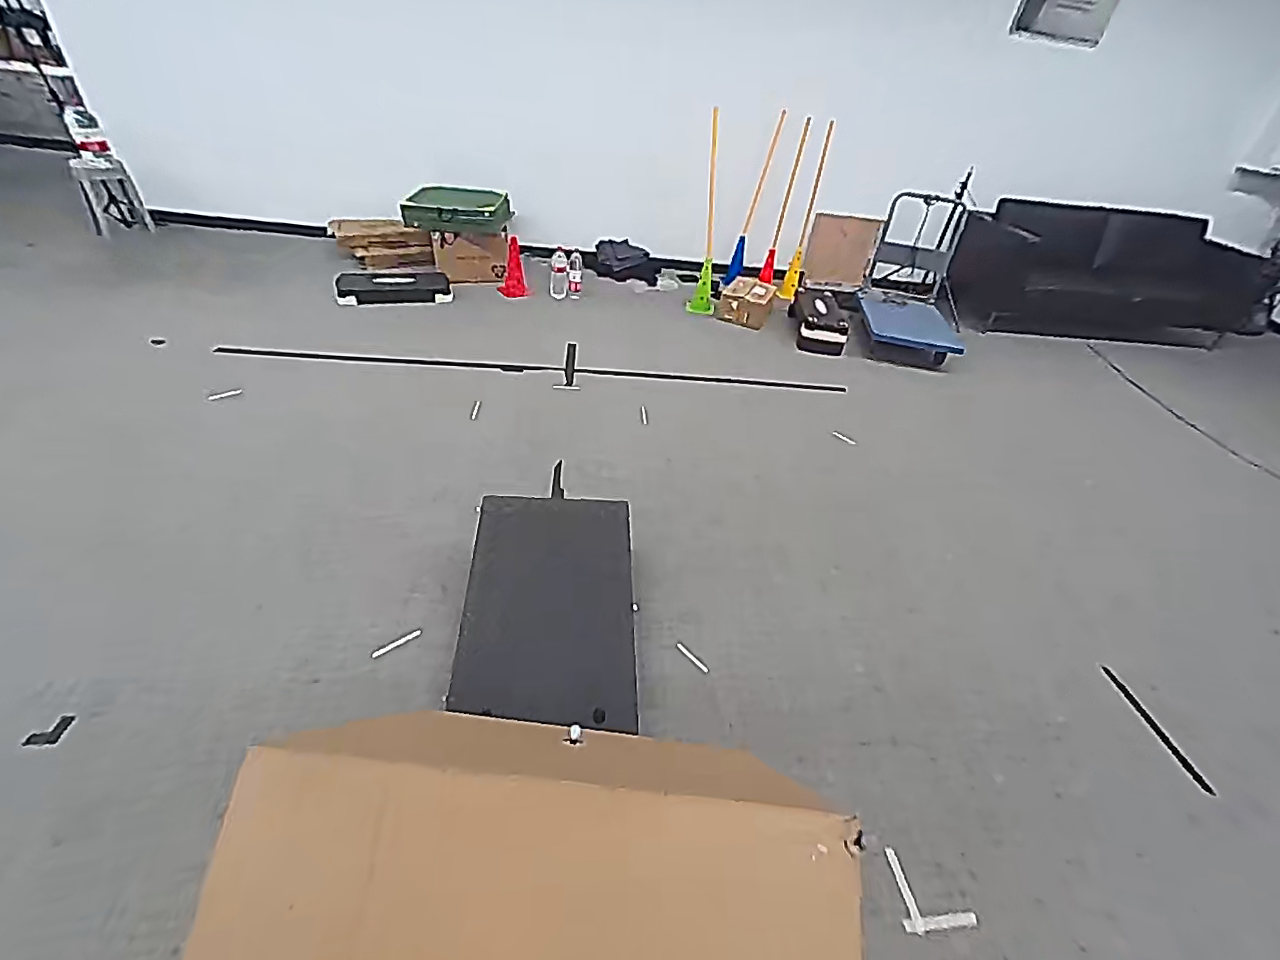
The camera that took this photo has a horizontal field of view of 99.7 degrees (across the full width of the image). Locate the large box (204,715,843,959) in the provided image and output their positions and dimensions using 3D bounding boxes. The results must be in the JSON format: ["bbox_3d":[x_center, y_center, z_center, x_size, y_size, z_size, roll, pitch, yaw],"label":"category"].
[{"bbox_3d":[-0.082,0.393,0.463,0.408,0.320,0.320,6,72,-1],"label":"large box"}]
